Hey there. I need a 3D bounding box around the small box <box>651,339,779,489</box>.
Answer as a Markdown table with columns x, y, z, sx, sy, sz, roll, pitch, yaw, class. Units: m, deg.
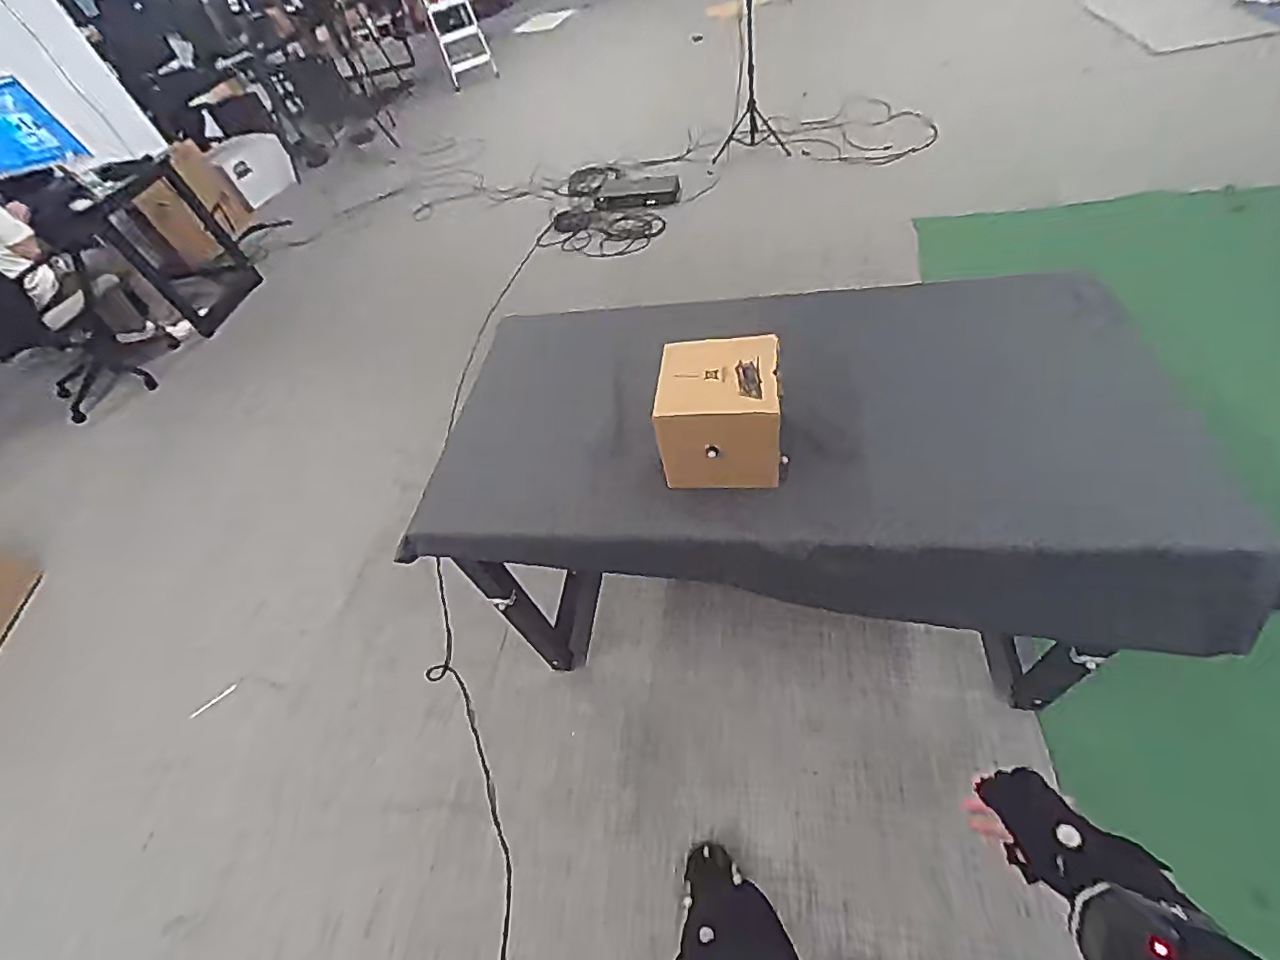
| x | y | z | sx | sy | sz | roll | pitch | yaw | class |
| --- | --- | --- | --- | --- | --- | --- | --- | --- | --- |
| 0.126 | -0.098 | 0.849 | 0.179 | 0.176 | 0.168 | -1 | 51 | 15 | small box |
